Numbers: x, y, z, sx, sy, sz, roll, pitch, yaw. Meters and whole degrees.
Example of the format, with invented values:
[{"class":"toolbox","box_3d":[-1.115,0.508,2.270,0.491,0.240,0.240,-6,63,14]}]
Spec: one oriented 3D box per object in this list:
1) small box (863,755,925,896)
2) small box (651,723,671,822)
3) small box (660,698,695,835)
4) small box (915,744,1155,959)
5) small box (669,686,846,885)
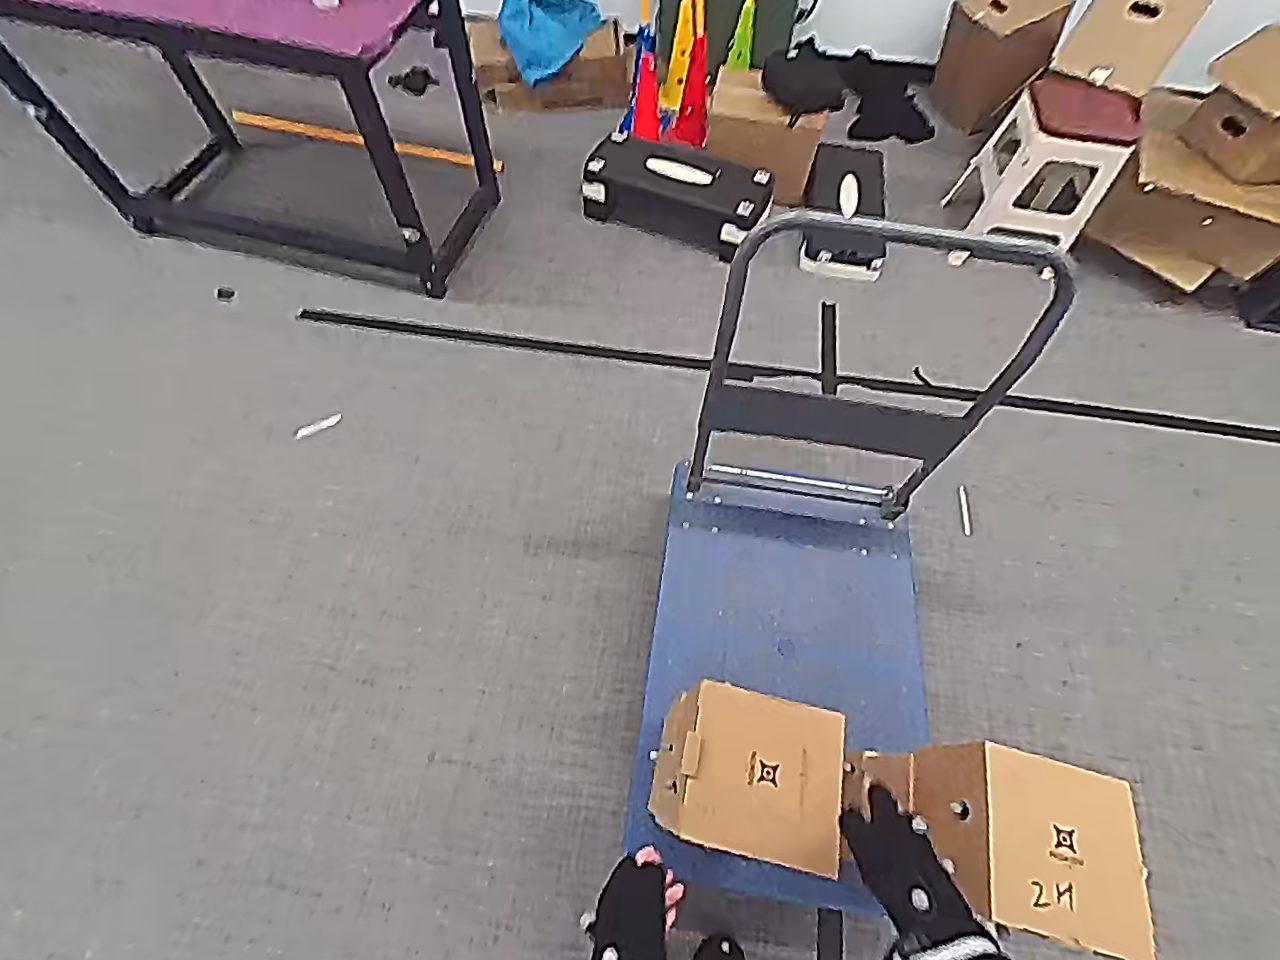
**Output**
[{"class":"small box","box_3d":[0.446,0.522,0.797,0.179,0.176,0.168,14,62,4]},{"class":"small box","box_3d":[0.123,0.531,0.965,0.179,0.176,0.168,12,61,5]},{"class":"small box","box_3d":[0.125,0.449,0.822,0.168,0.176,0.179,10,60,3]},{"class":"small box","box_3d":[0.453,0.440,0.654,0.168,0.176,0.179,15,62,5]},{"class":"small box","box_3d":[0.138,0.374,0.678,0.179,0.176,0.168,13,63,4]}]
